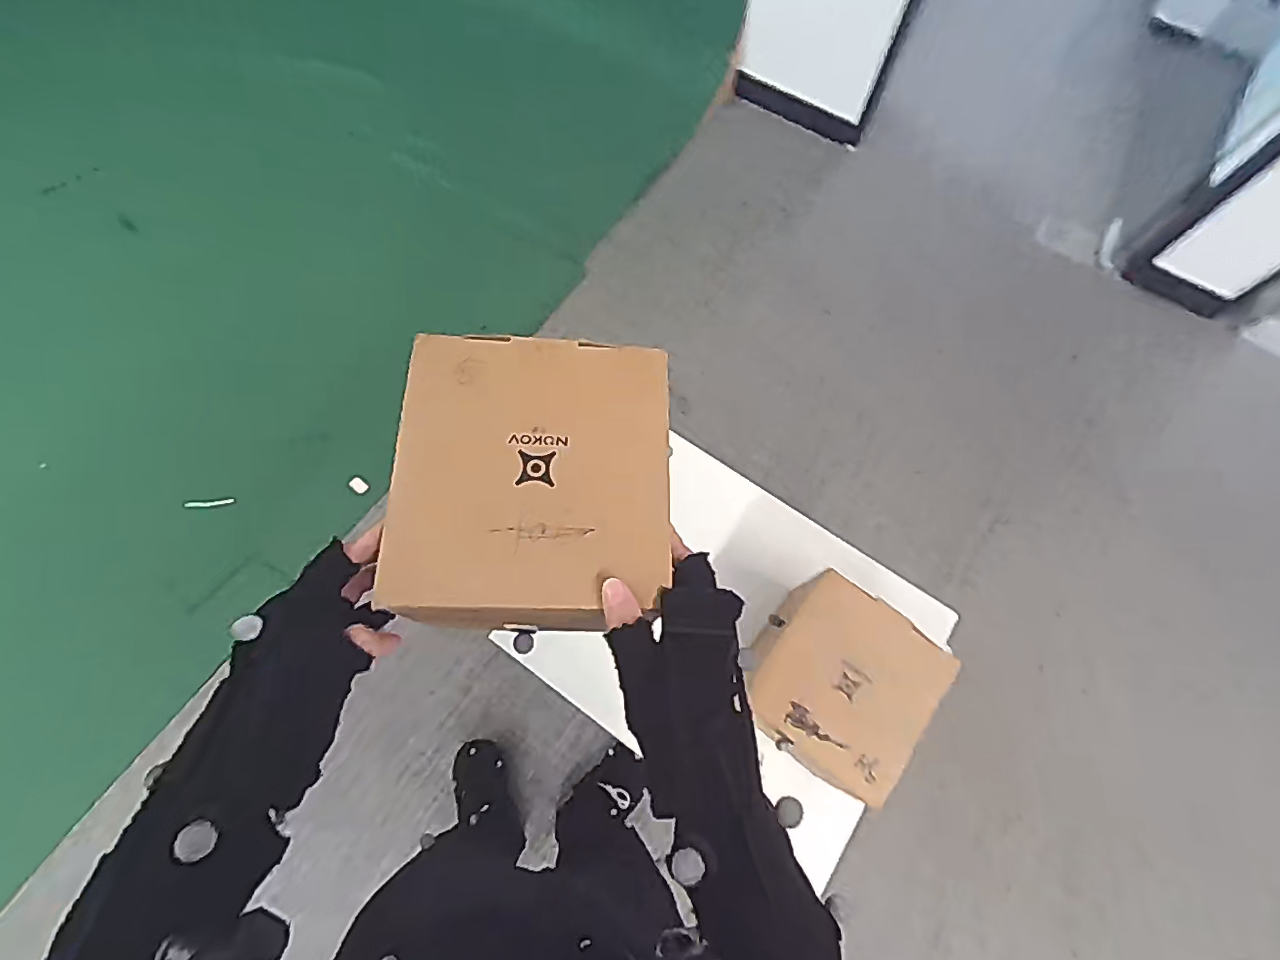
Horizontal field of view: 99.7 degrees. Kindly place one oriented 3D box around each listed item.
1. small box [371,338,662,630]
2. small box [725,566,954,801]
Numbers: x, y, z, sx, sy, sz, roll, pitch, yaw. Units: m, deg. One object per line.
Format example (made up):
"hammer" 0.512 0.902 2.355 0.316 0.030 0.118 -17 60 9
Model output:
"small box" -0.078 0.016 0.407 0.168 0.176 0.179 0 72 -5
"small box" 0.218 0.232 0.641 0.168 0.176 0.179 37 74 13
